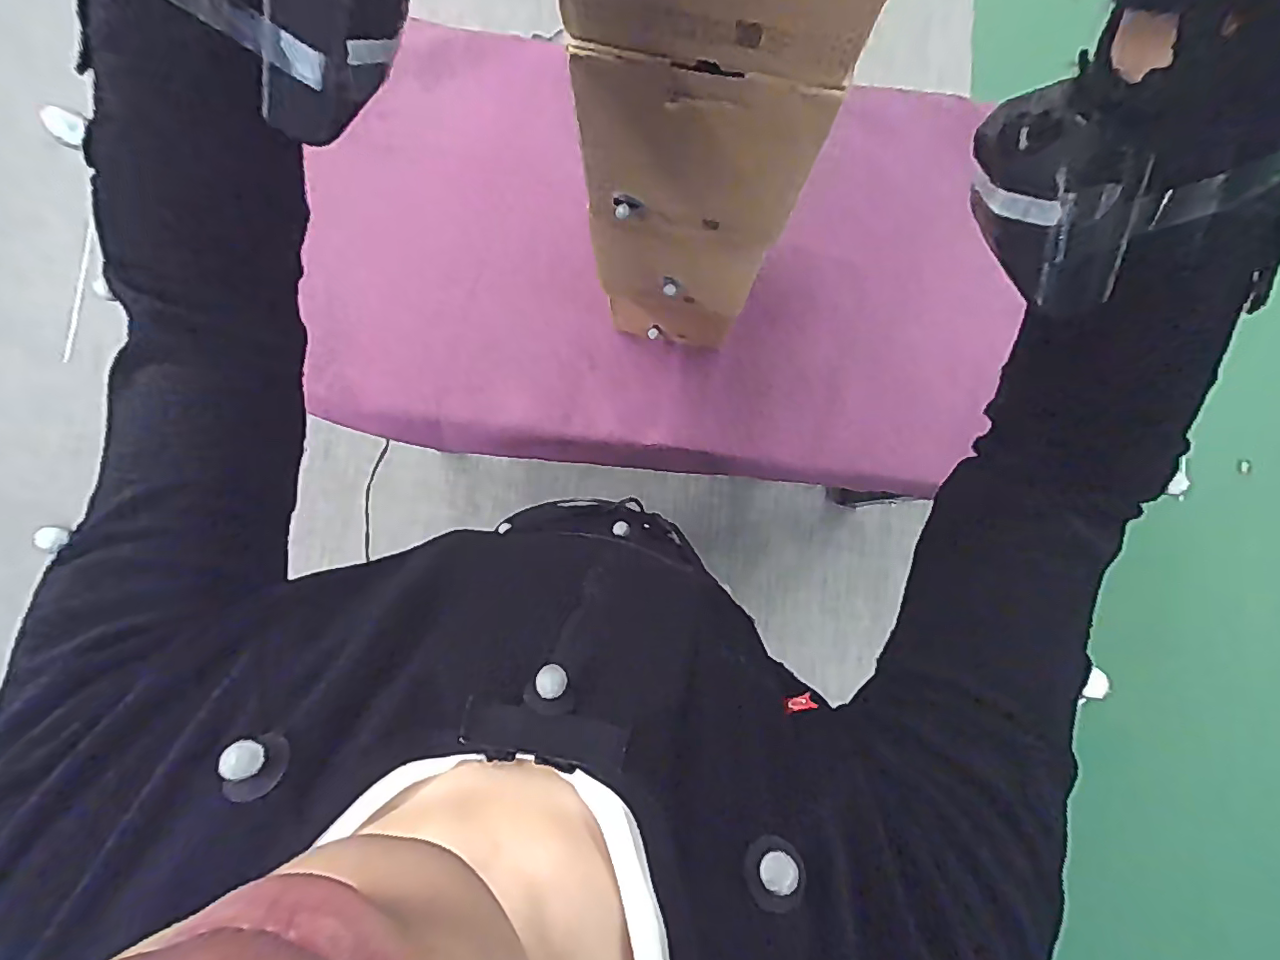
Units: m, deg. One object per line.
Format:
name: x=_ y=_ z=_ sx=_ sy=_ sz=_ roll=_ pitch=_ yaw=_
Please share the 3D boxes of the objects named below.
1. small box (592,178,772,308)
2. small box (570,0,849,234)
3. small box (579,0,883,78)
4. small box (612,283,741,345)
small box: x=0.051 y=-0.306 z=0.562 sx=0.168 sy=0.176 sz=0.179 roll=9 pitch=85 yaw=1
small box: x=0.054 y=-0.313 z=0.398 sx=0.168 sy=0.176 sz=0.179 roll=10 pitch=84 yaw=1
small box: x=0.056 y=-0.334 z=0.236 sx=0.168 sy=0.176 sz=0.179 roll=11 pitch=84 yaw=1
small box: x=0.056 y=-0.305 z=0.726 sx=0.168 sy=0.176 sz=0.179 roll=11 pitch=85 yaw=1
